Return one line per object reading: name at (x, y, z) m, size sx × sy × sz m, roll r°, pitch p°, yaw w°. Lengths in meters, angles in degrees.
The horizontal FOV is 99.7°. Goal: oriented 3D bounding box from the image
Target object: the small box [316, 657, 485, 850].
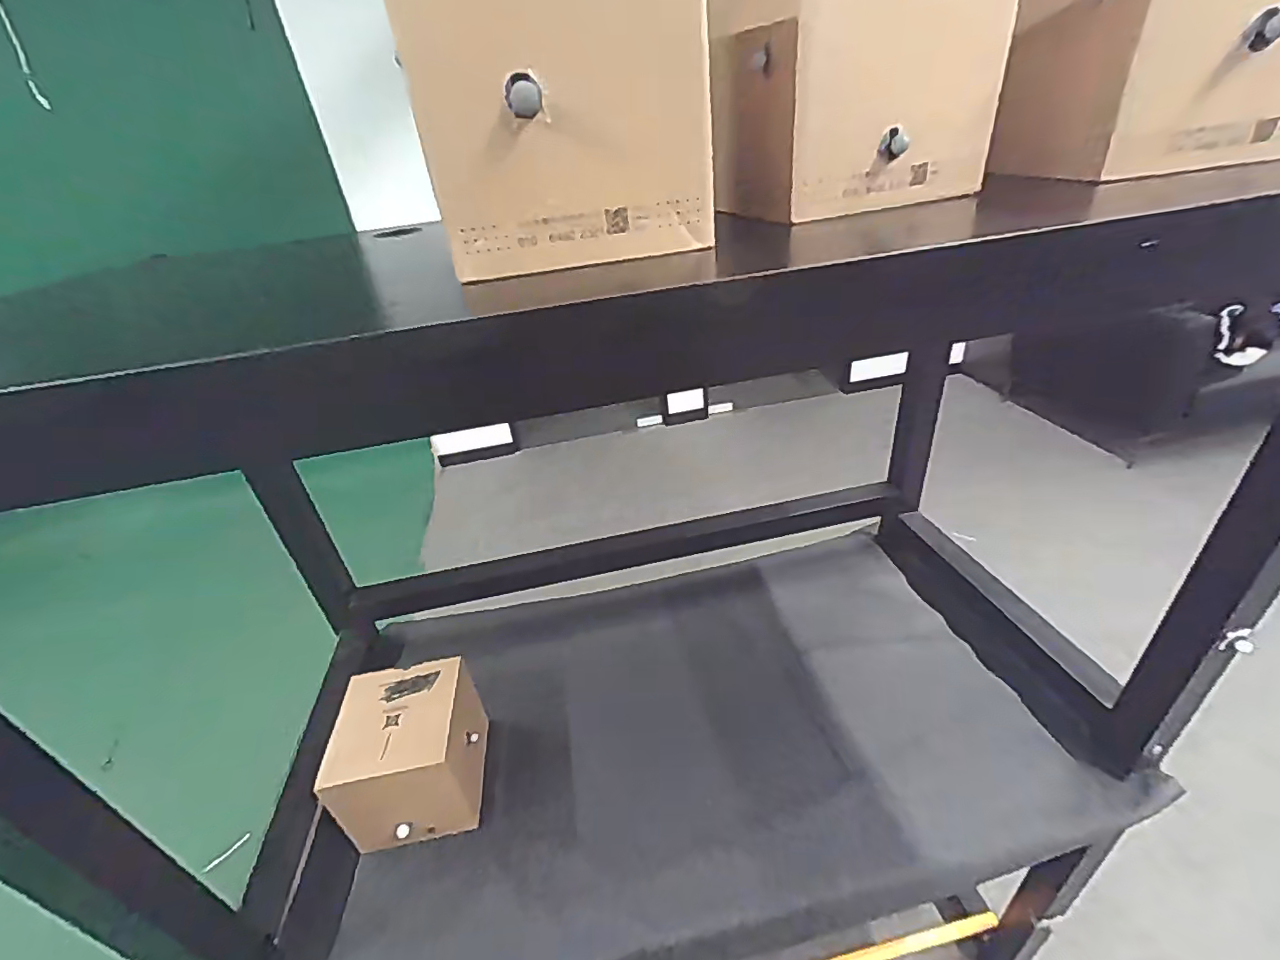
small box at (-0.332, 0.396, 0.793) m, size 0.168 × 0.176 × 0.179 m, roll -10°, pitch 32°, yaw -5°
